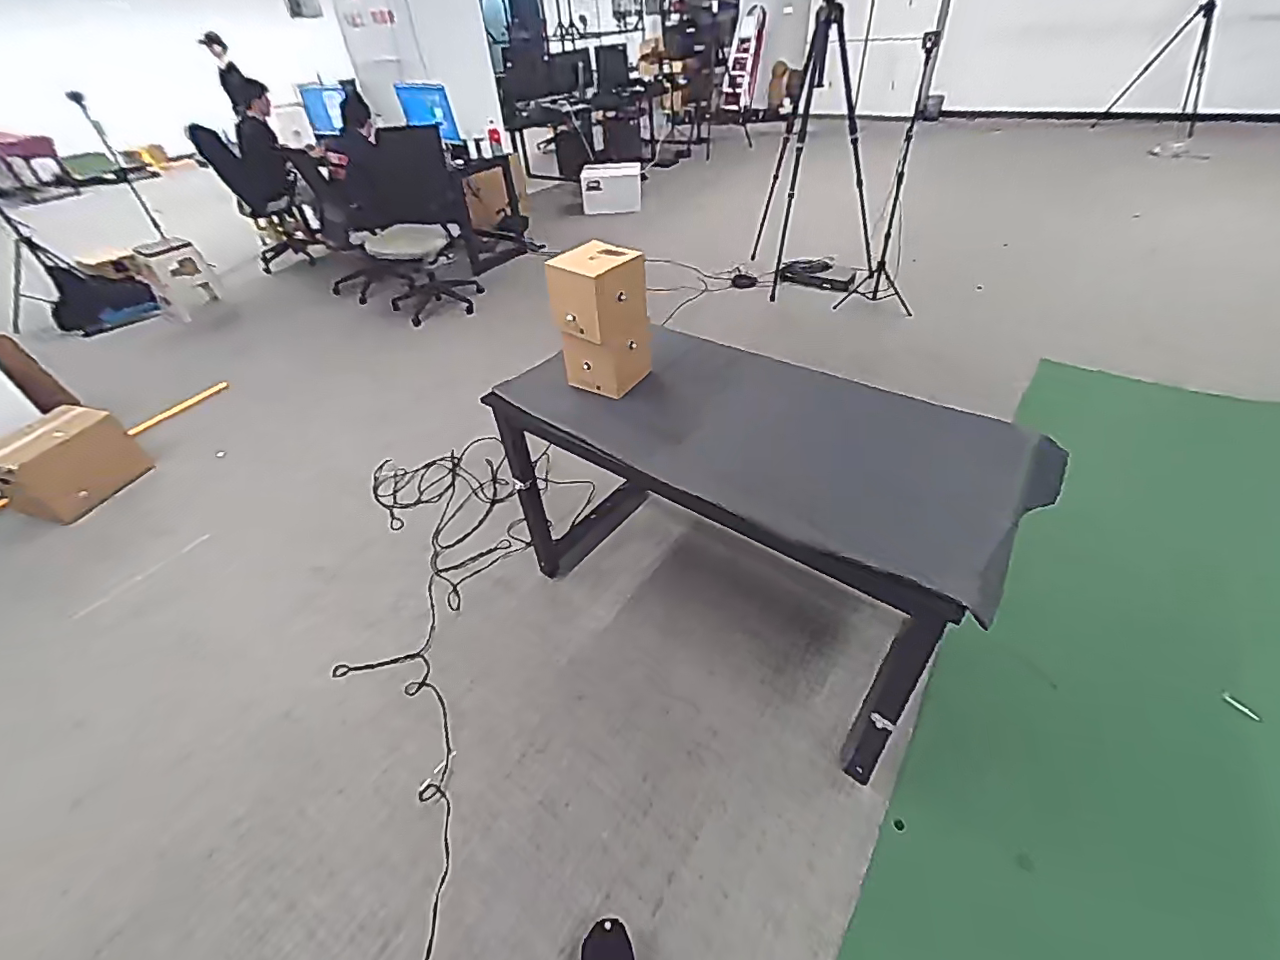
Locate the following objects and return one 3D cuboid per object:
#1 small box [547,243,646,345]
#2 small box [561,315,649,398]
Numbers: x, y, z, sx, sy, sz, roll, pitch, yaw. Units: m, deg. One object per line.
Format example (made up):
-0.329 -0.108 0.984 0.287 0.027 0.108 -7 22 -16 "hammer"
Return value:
-0.101 -0.455 1.322 0.168 0.176 0.179 28 51 31 "small box"
-0.084 -0.341 1.439 0.168 0.176 0.179 22 47 25 "small box"
